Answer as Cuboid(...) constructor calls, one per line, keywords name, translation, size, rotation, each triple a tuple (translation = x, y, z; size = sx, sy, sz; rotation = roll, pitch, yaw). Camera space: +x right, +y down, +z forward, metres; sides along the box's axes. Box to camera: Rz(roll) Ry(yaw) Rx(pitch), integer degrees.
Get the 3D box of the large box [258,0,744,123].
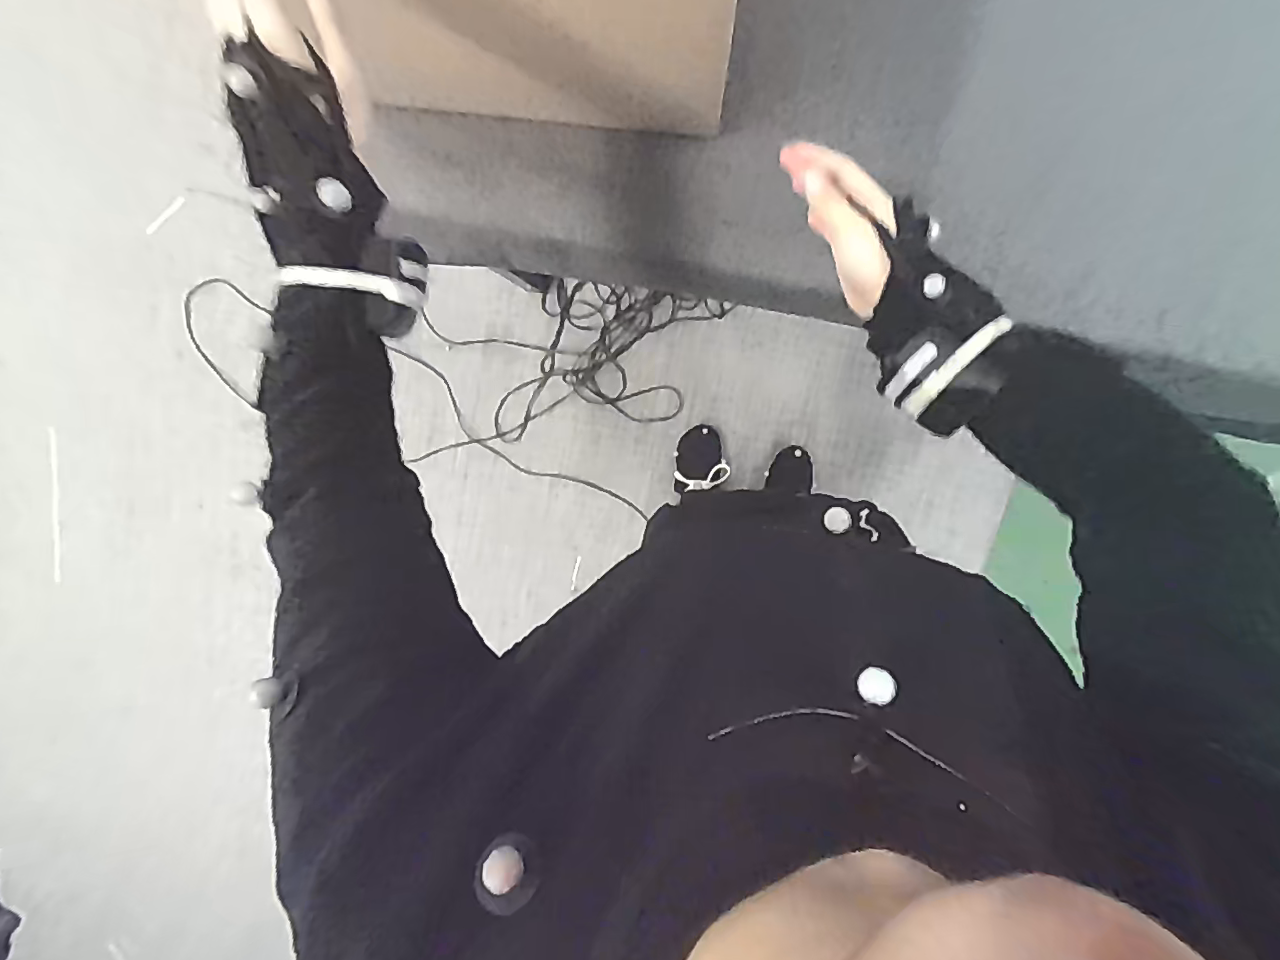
Cuboid(name="large box", translation=(-0.106, -0.518, 0.406), size=(0.408, 0.320, 0.320), rotation=(7, 100, 3))
